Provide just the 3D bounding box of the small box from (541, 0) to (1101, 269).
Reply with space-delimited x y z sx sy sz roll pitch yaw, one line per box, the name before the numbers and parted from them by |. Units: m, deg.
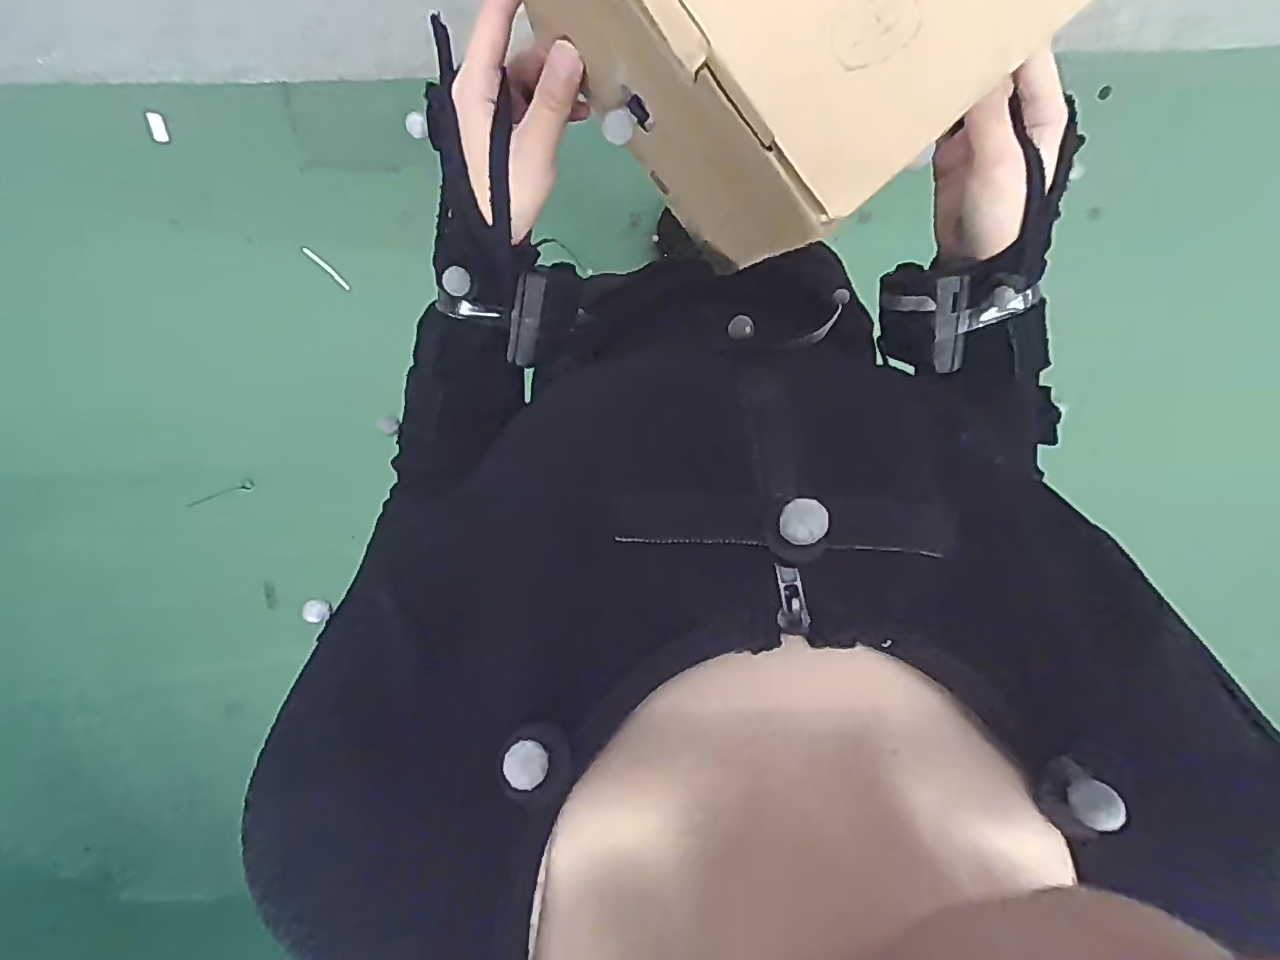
small box | 0.065 -0.207 0.212 0.179 0.176 0.168 -40 104 10
